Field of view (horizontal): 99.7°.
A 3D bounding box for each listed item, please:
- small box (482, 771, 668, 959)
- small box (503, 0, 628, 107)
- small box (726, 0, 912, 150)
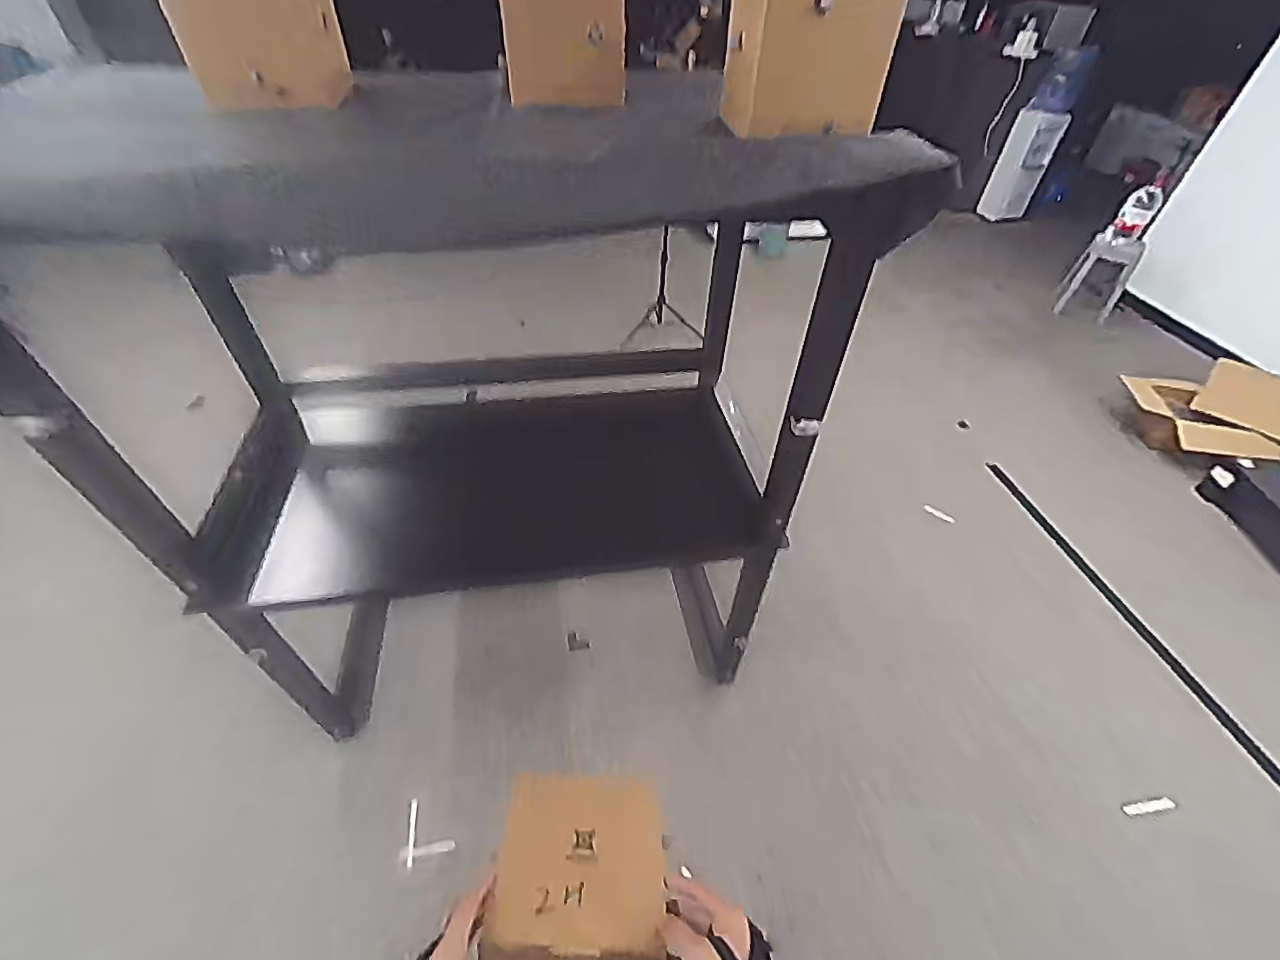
[{"bbox_3d":[-0.065,0.447,0.570,0.168,0.176,0.179,5,21,-3],"label":"small box"},{"bbox_3d":[-0.113,-0.690,0.831,0.179,0.176,0.168,-4,45,-7],"label":"small box"},{"bbox_3d":[0.216,-0.549,0.705,0.168,0.176,0.179,-3,44,-5],"label":"small box"}]
